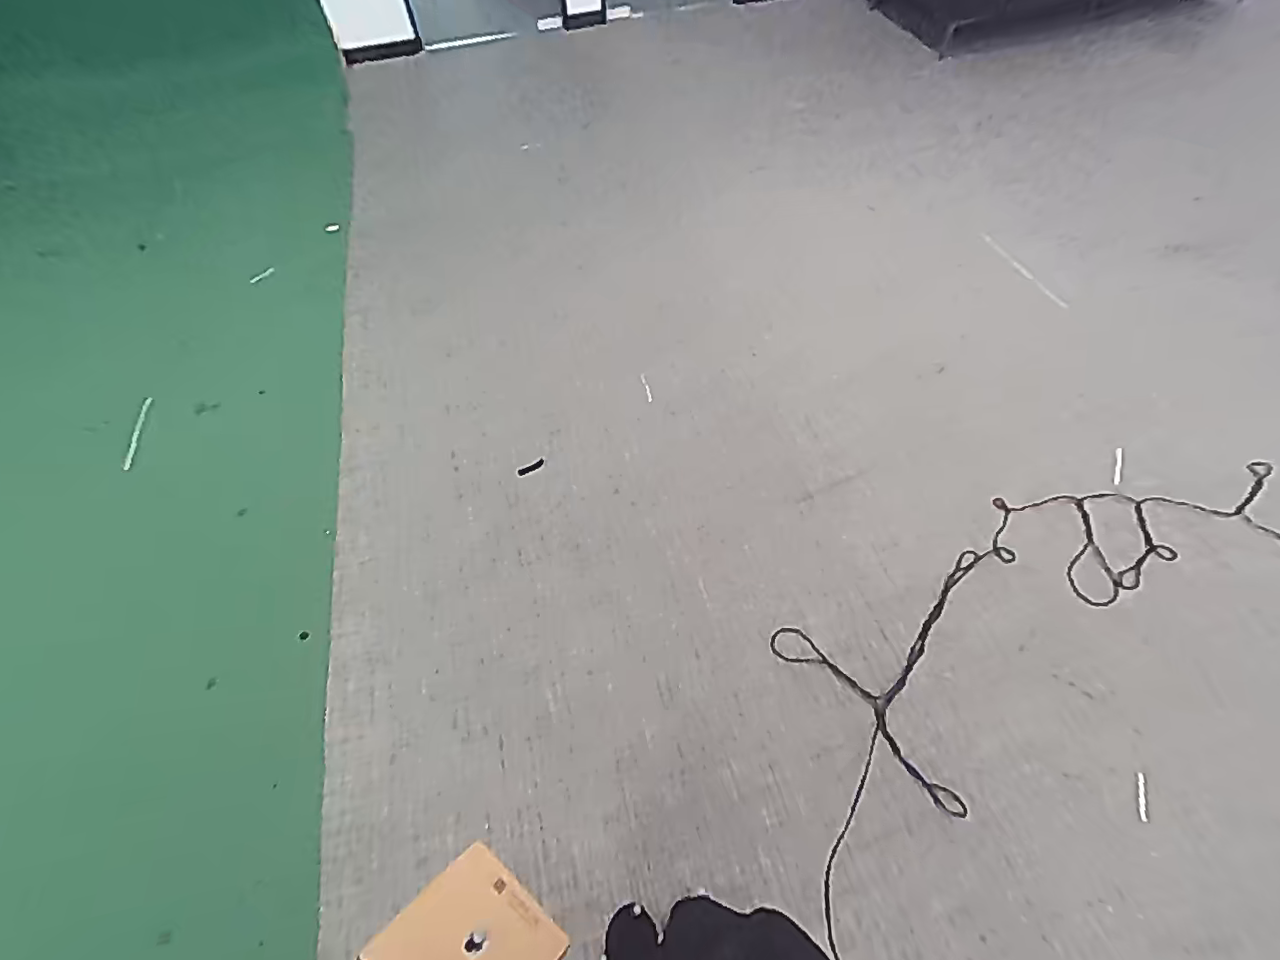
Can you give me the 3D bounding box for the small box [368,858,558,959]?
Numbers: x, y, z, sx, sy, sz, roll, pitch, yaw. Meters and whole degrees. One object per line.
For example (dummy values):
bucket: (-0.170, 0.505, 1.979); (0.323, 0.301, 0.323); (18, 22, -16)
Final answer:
small box: (-0.216, 0.593, 0.619); (0.168, 0.179, 0.176); (32, 21, 22)
